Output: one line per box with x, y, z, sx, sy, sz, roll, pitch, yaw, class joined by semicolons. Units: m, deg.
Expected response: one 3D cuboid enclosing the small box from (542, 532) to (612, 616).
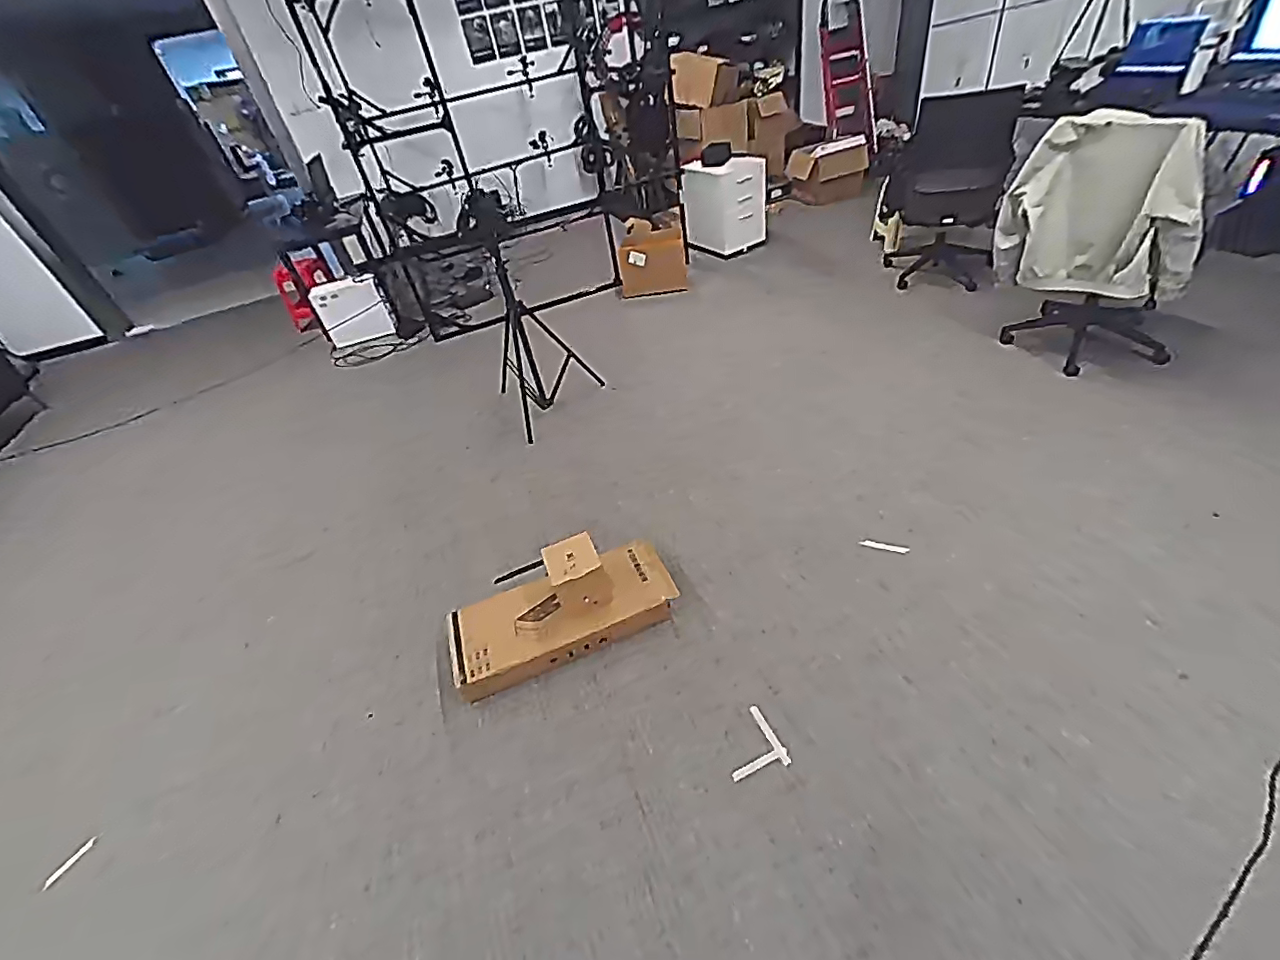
-0.205;0.308;1.765;0.168;0.176;0.179;-22;40;-11;small box
